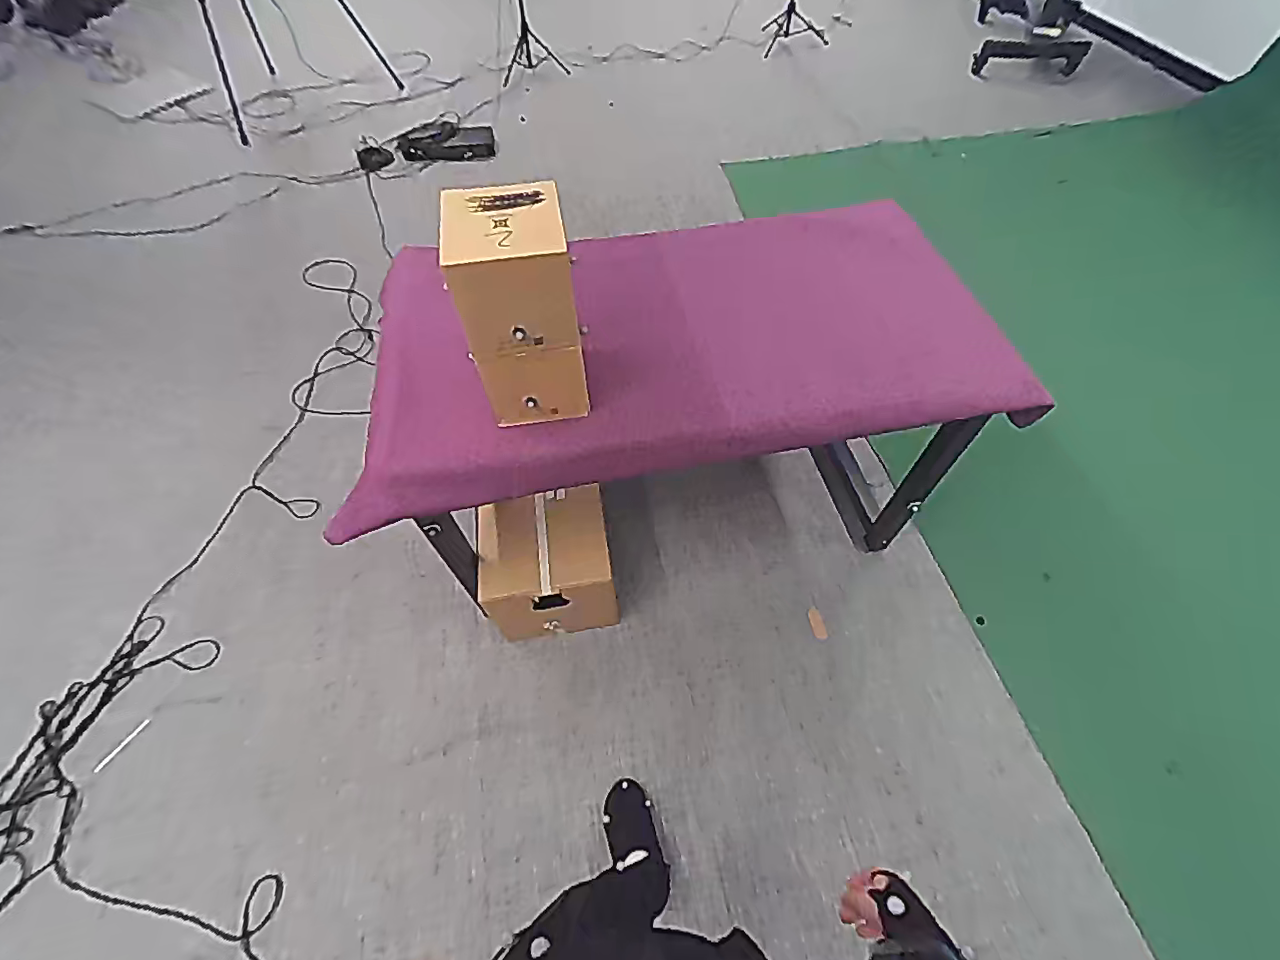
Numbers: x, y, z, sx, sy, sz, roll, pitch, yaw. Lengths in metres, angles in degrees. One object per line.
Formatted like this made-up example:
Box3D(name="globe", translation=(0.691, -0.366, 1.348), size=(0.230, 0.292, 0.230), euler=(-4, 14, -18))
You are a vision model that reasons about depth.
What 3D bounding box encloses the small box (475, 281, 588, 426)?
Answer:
Box3D(name="small box", translation=(-0.185, -0.219, 0.948), size=(0.168, 0.176, 0.179), euler=(-8, 57, -5))
